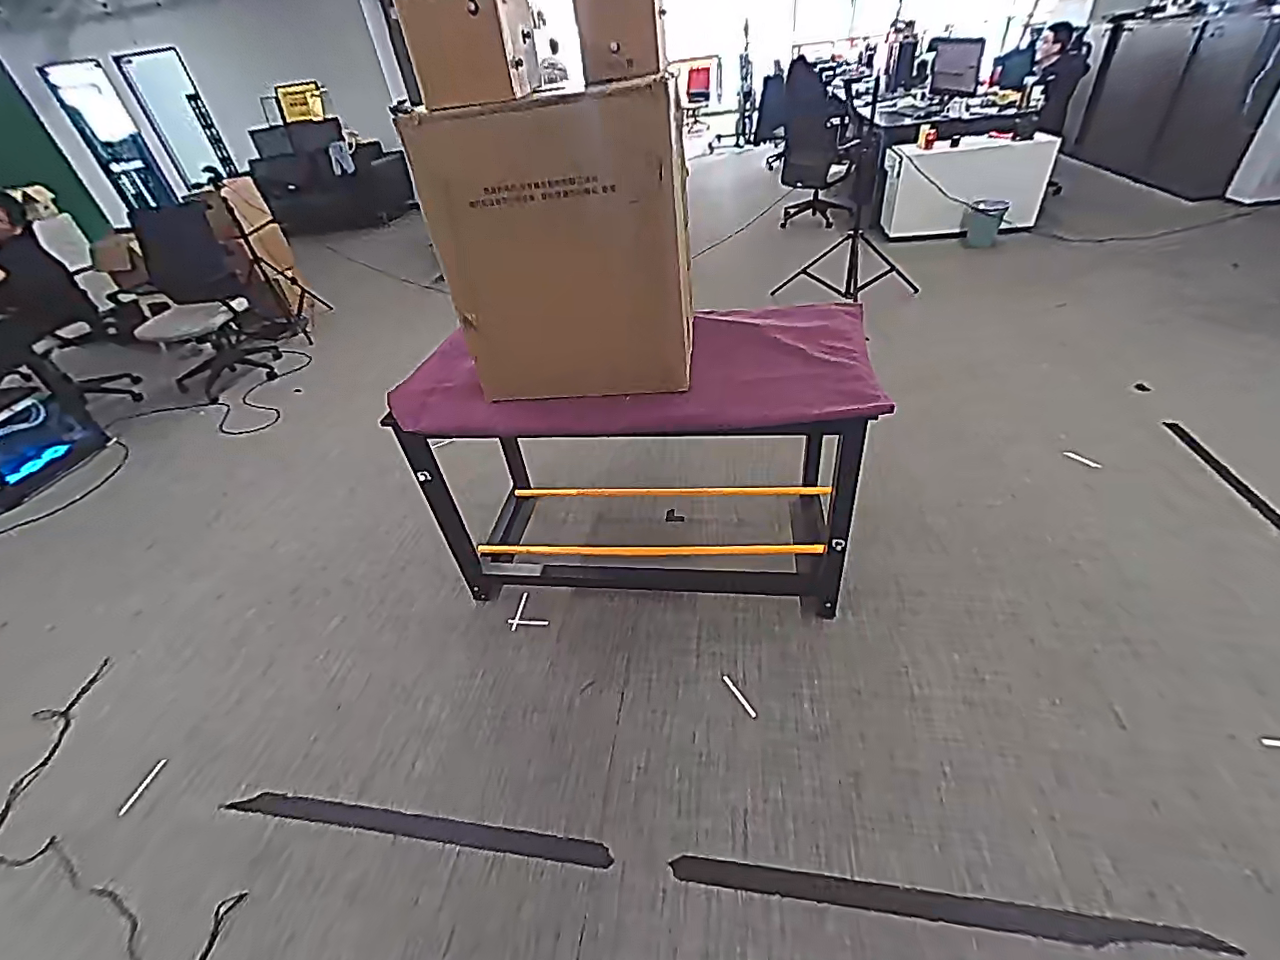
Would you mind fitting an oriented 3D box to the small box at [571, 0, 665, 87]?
[{"bbox_3d":[-0.040,-0.940,1.136,0.168,0.176,0.179,-1,39,11],"label":"small box"}]
